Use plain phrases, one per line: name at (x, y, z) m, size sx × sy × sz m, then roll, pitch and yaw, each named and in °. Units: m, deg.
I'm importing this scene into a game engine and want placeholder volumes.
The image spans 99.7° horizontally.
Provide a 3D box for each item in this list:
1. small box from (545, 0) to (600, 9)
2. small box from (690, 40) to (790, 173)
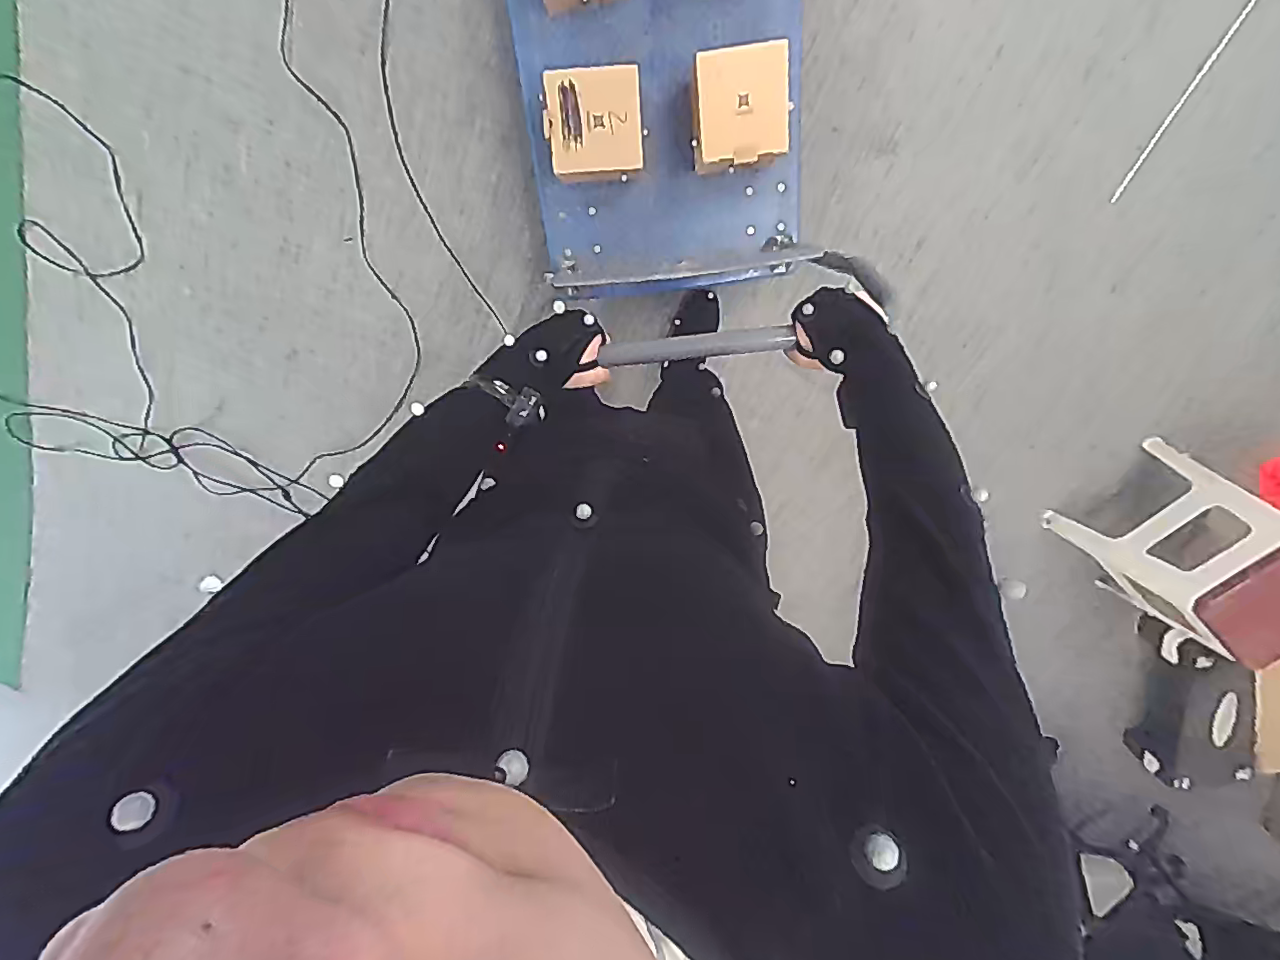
small box at (-0.113, -0.970, 0.948) m, size 0.168 × 0.176 × 0.179 m, roll -9°, pitch 114°, yaw 4°
small box at (0.191, -0.719, 1.060) m, size 0.168 × 0.176 × 0.179 m, roll -6°, pitch 115°, yaw 3°
